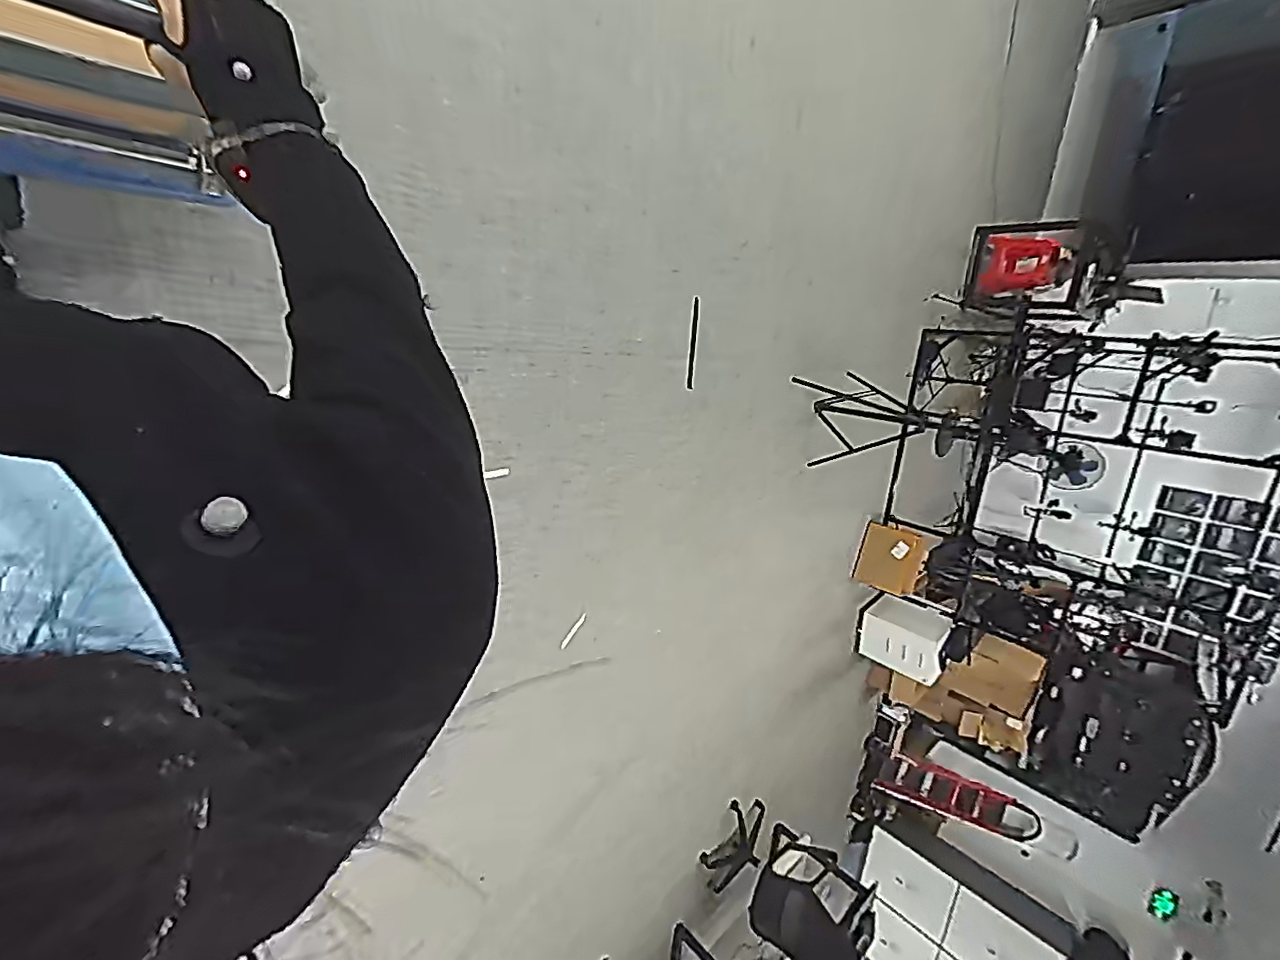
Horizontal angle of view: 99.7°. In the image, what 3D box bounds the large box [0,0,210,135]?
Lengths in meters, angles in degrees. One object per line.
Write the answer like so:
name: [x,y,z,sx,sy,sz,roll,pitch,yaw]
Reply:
large box: [-0.815,-0.671,0.650,0.408,0.320,0.320,-11,112,-45]
